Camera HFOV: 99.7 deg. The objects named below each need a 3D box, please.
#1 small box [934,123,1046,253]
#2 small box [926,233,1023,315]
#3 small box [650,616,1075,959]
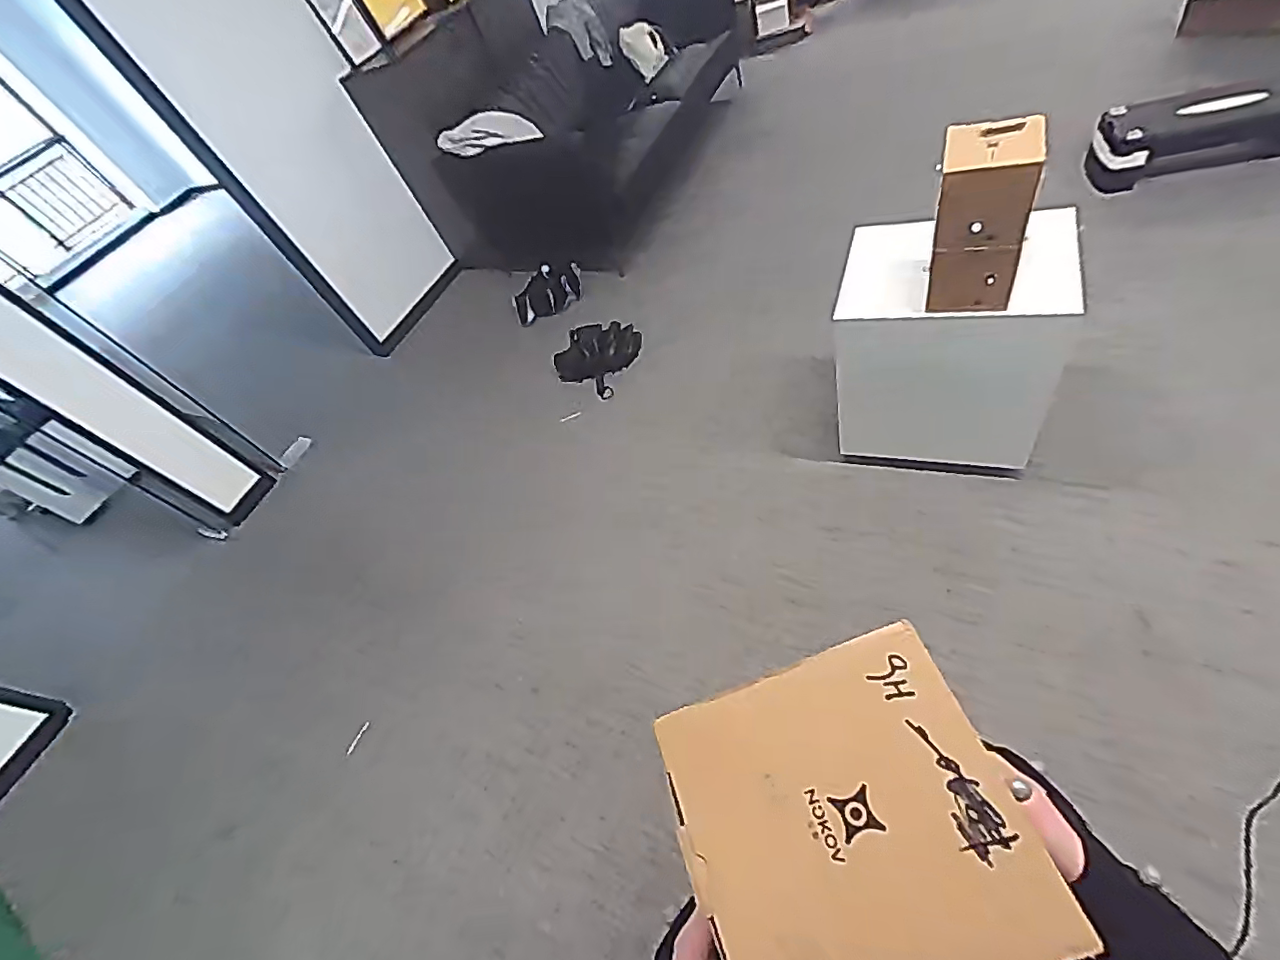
[{"bbox_3d":[0.710,-0.590,1.107,0.168,0.176,0.179,8,58,26],"label":"small box"},{"bbox_3d":[0.756,-0.492,1.230,0.168,0.176,0.179,7,55,25],"label":"small box"},{"bbox_3d":[0.130,0.217,0.373,0.179,0.176,0.168,-24,60,6],"label":"small box"}]
